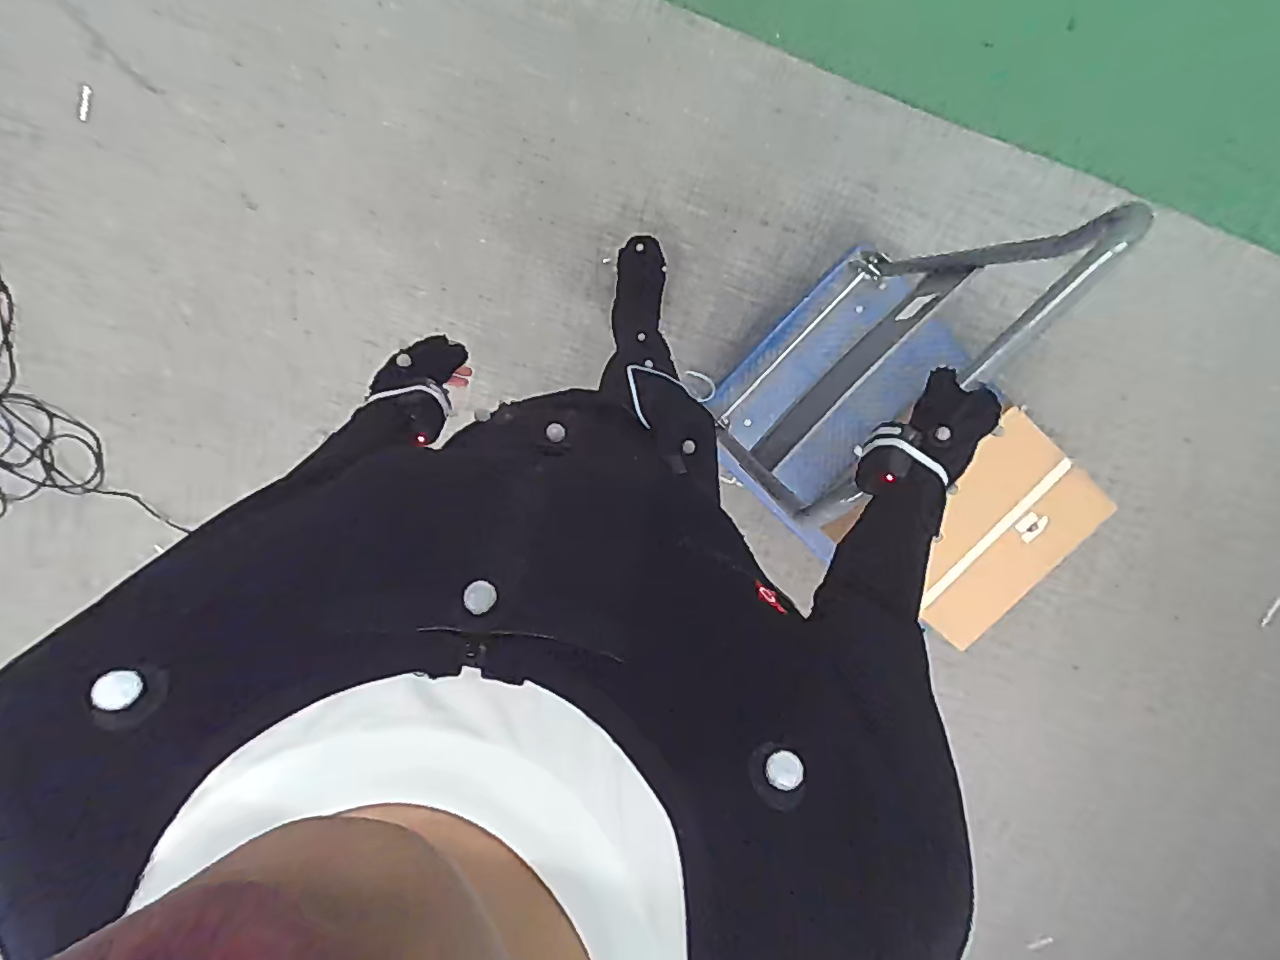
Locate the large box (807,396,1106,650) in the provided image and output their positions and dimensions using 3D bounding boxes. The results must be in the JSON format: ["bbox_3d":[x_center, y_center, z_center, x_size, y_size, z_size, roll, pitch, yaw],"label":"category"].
[{"bbox_3d":[0.651,0.073,1.186,0.320,0.320,0.408,39,99,-12],"label":"large box"}]
